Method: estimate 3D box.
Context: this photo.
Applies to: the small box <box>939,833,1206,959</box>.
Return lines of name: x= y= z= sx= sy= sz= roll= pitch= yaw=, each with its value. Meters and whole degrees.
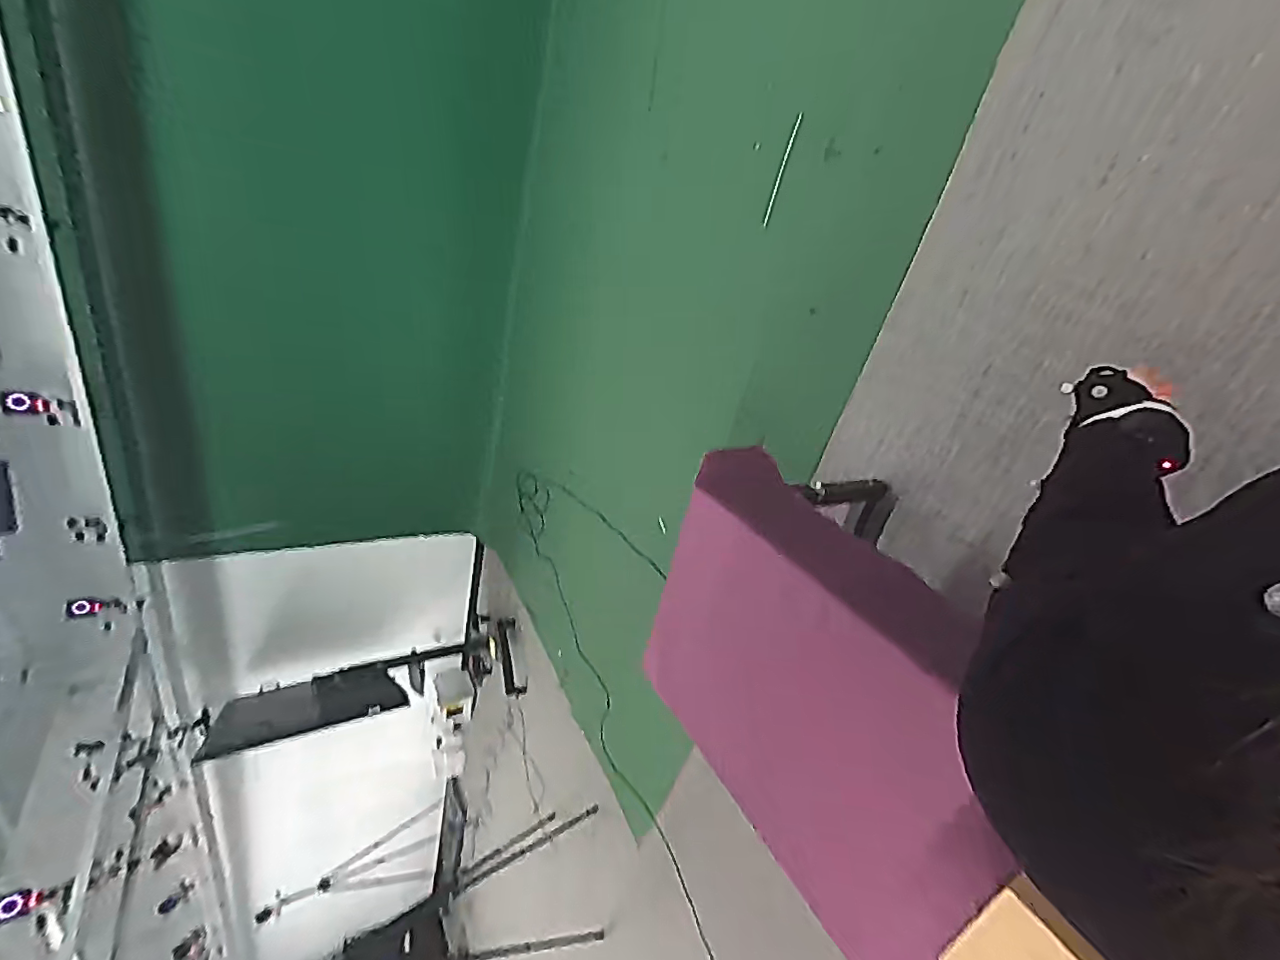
small box: x=0.506 y=0.570 z=0.638 sx=0.168 sy=0.176 sz=0.179 roll=44 pitch=127 yaw=46
